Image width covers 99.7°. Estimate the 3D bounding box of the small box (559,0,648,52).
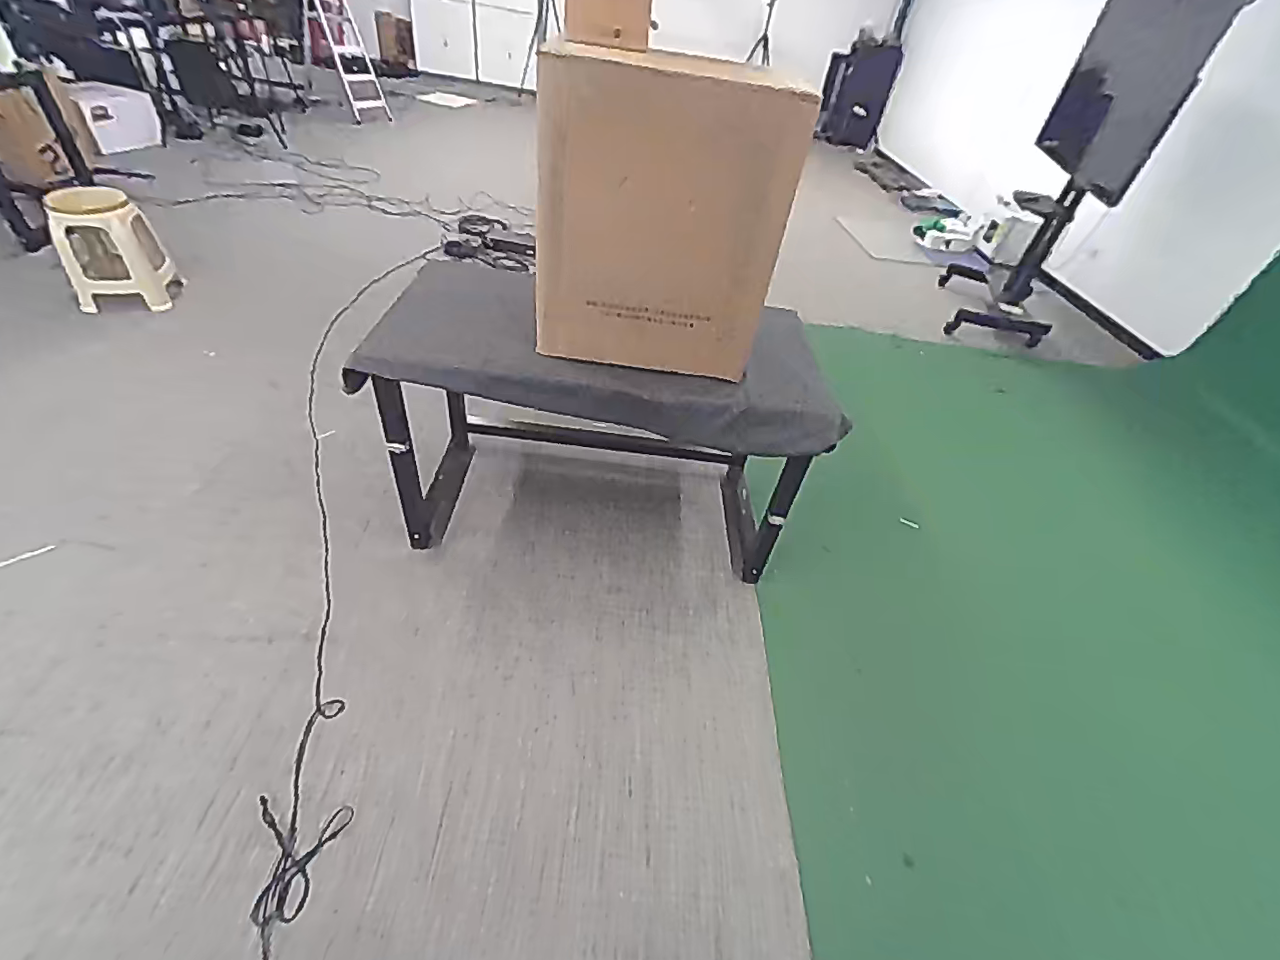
[{"bbox_3d":[-0.066,-0.960,1.056,0.168,0.176,0.179,5,43,-3],"label":"small box"}]
